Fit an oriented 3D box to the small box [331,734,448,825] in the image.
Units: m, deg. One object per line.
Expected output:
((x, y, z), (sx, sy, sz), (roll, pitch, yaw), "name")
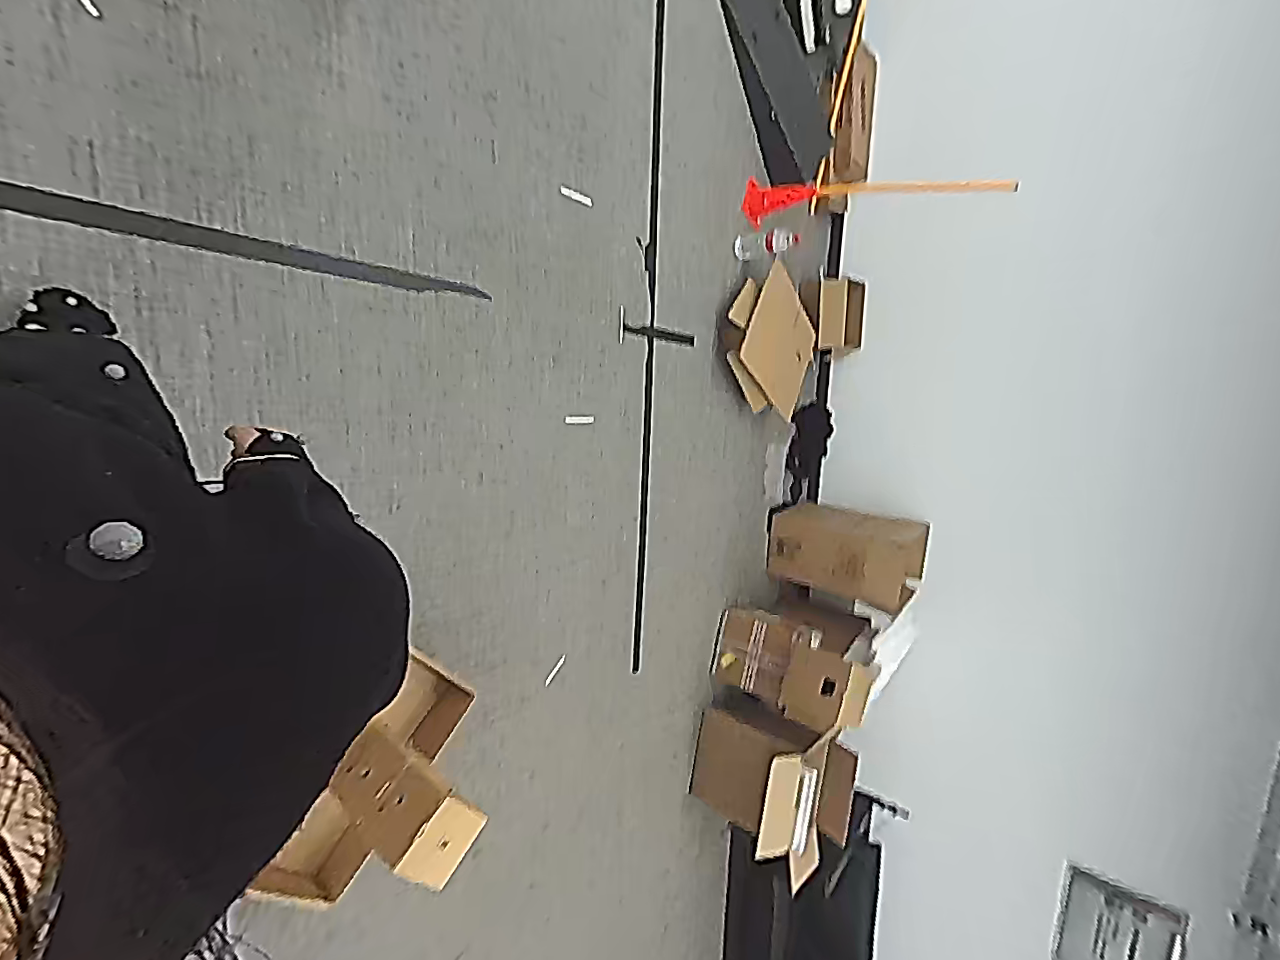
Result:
((-0.635, 0.772, 1.366), (0.168, 0.176, 0.179), (-53, 134, -29), "small box")

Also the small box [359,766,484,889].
((-0.510, 0.806, 1.267), (0.168, 0.176, 0.179), (-54, 135, -28), "small box")
